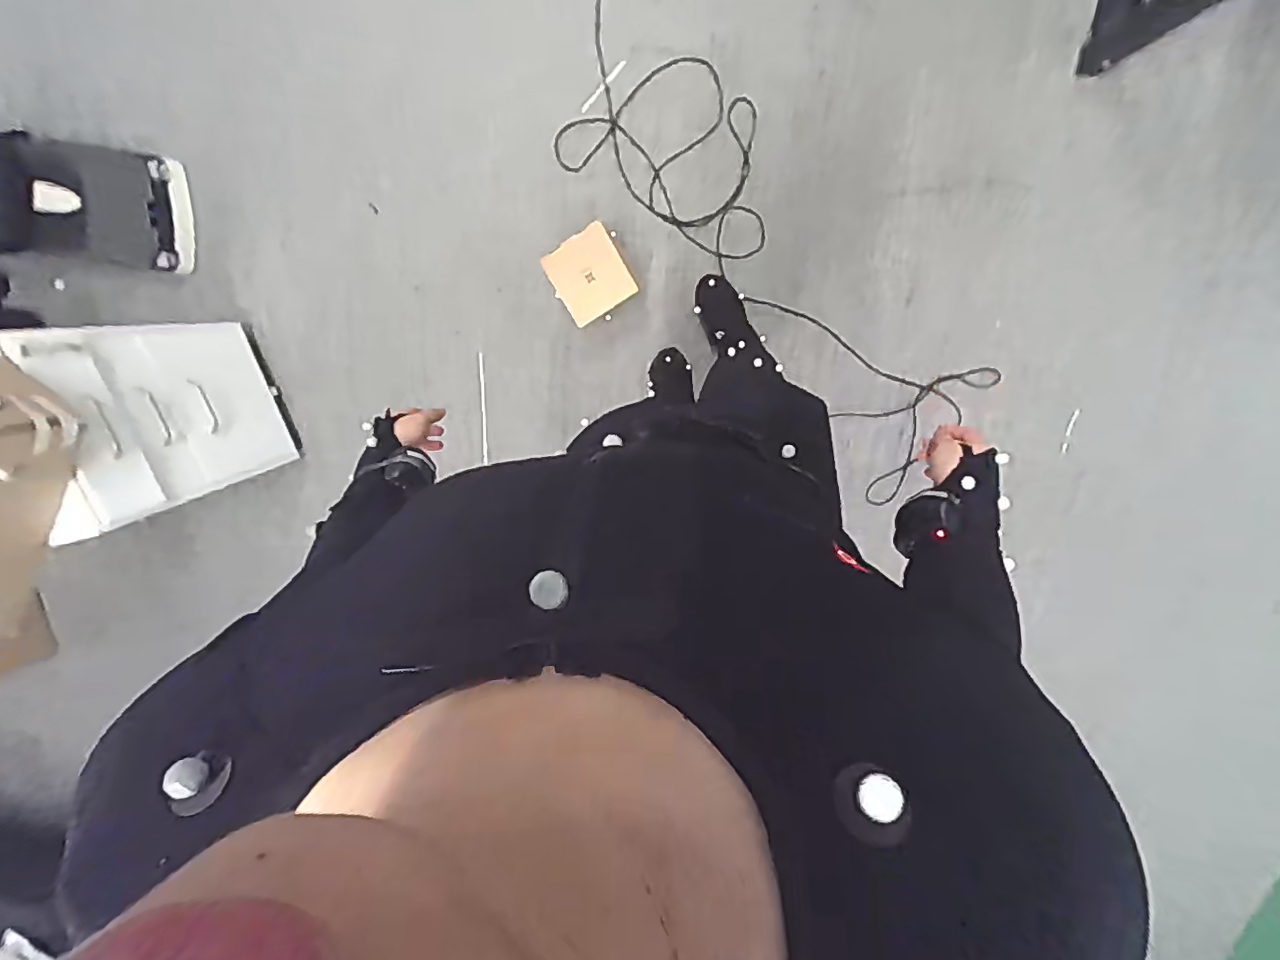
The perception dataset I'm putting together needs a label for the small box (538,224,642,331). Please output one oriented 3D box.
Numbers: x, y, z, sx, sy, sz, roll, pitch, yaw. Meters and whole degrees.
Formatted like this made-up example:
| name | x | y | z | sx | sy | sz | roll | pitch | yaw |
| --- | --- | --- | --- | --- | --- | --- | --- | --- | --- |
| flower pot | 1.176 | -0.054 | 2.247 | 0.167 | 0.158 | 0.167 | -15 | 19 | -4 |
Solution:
| name | x | y | z | sx | sy | sz | roll | pitch | yaw |
| --- | --- | --- | --- | --- | --- | --- | --- | --- | --- |
| small box | -0.110 | -0.481 | 1.298 | 0.168 | 0.176 | 0.179 | -30 | 102 | 15 |
